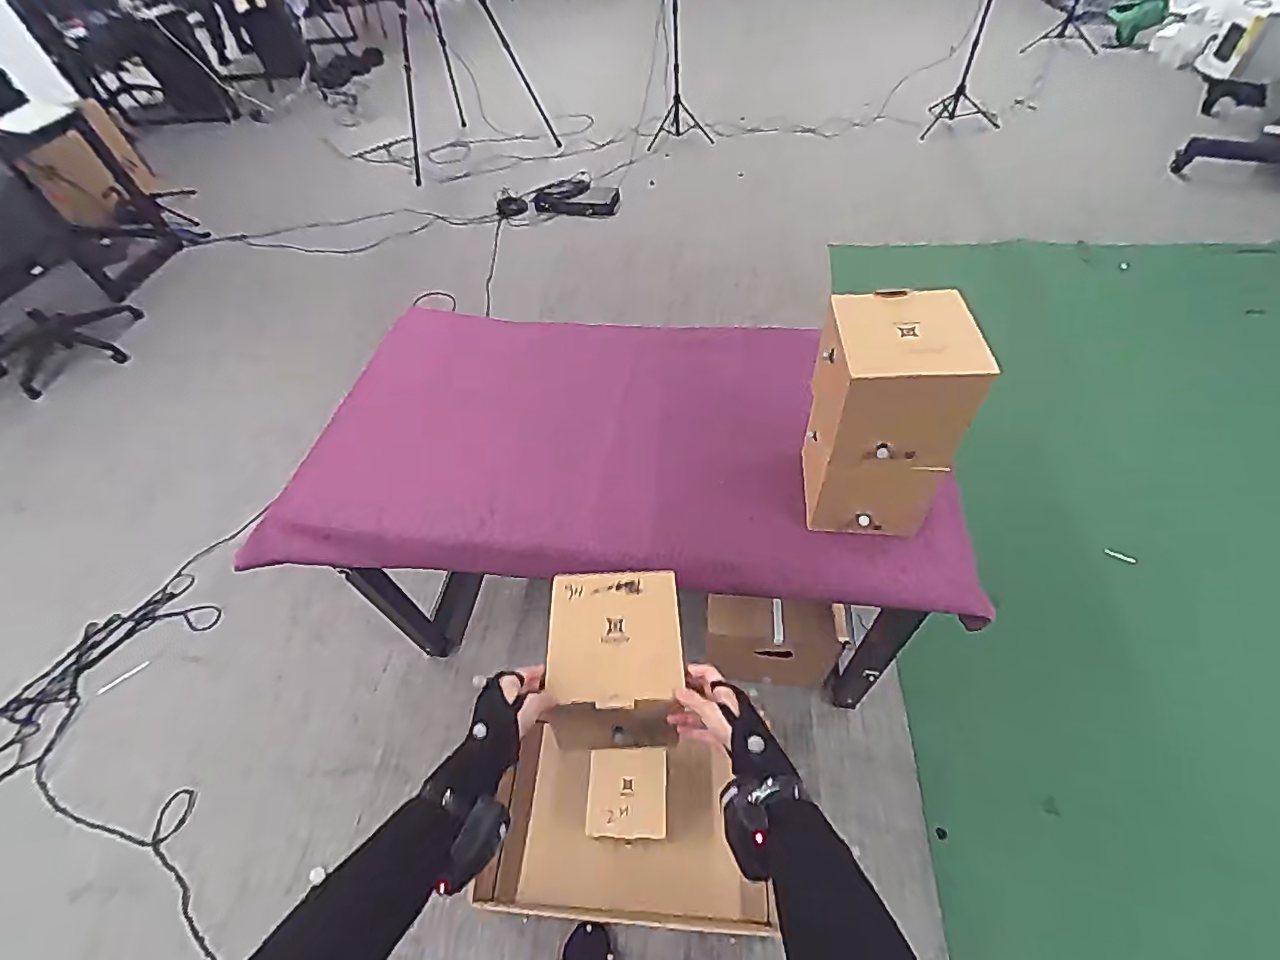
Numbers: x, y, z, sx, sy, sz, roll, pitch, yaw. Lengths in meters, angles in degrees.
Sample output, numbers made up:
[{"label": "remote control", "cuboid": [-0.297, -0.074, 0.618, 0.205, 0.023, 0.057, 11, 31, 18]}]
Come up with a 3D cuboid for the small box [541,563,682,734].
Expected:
[{"label": "small box", "cuboid": [-0.032, 0.232, 0.730, 0.168, 0.176, 0.179, -1, 48, -1]}]

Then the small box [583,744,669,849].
[{"label": "small box", "cuboid": [-0.024, 0.697, 1.189, 0.168, 0.176, 0.179, -1, 53, 5]}]

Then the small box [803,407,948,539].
[{"label": "small box", "cuboid": [0.359, -0.029, 0.863, 0.168, 0.176, 0.179, 3, 51, 9]}]

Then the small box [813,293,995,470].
[{"label": "small box", "cuboid": [0.340, -0.134, 0.740, 0.168, 0.176, 0.179, 0, 50, 8]}]
